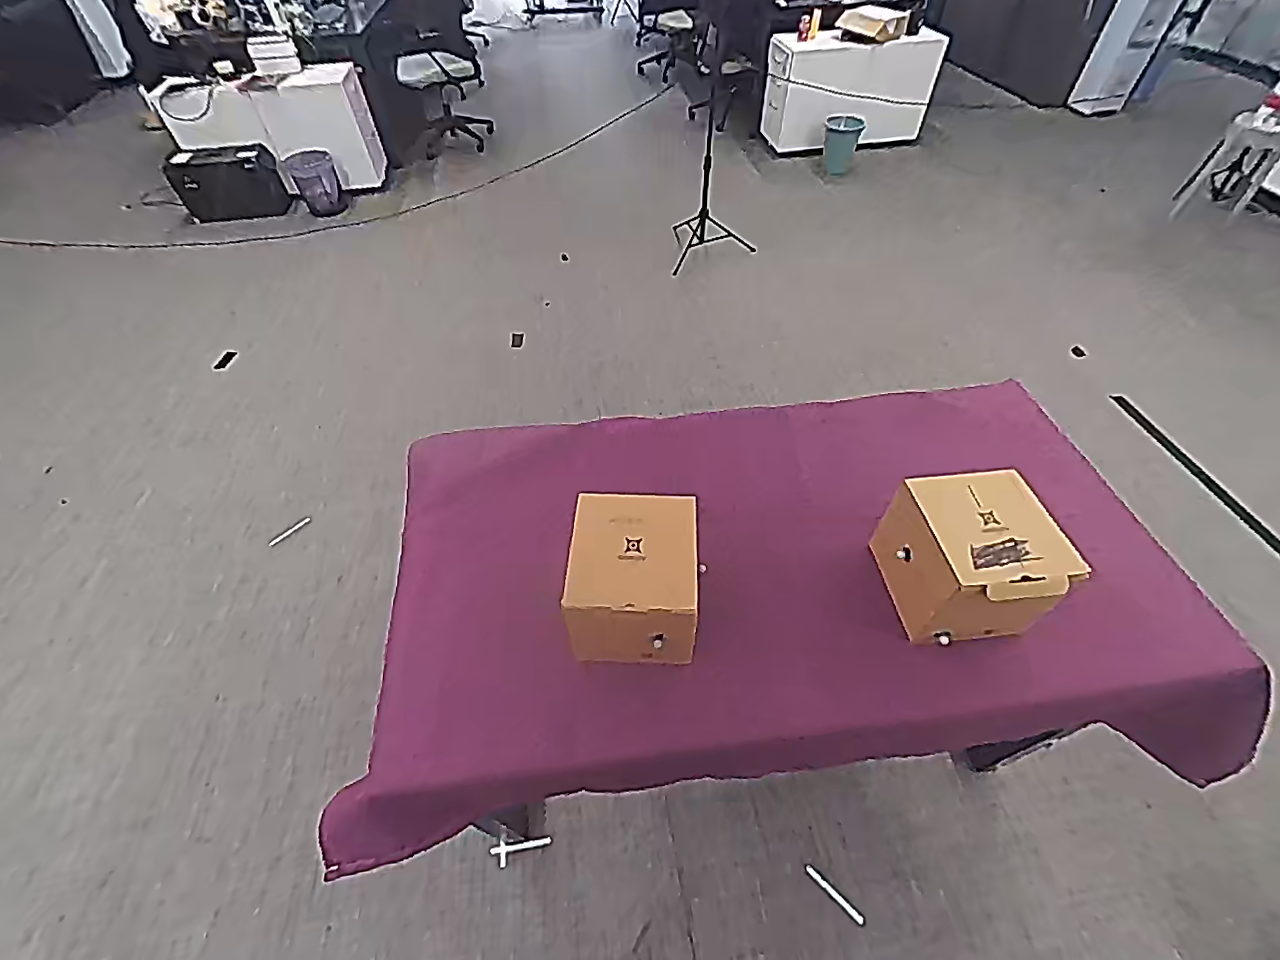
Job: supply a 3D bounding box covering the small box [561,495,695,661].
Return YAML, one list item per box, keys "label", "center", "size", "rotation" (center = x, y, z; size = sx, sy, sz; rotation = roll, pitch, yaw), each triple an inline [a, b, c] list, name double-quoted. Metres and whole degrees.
- label: "small box"
  center: [-0.008, 0.141, 0.759]
  size: [0.168, 0.176, 0.179]
  rotation: [2, 50, 2]

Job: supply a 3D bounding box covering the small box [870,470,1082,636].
- label: "small box"
  center: [0.455, 0.110, 0.769]
  size: [0.168, 0.176, 0.179]
  rotation: [-5, 49, -2]
